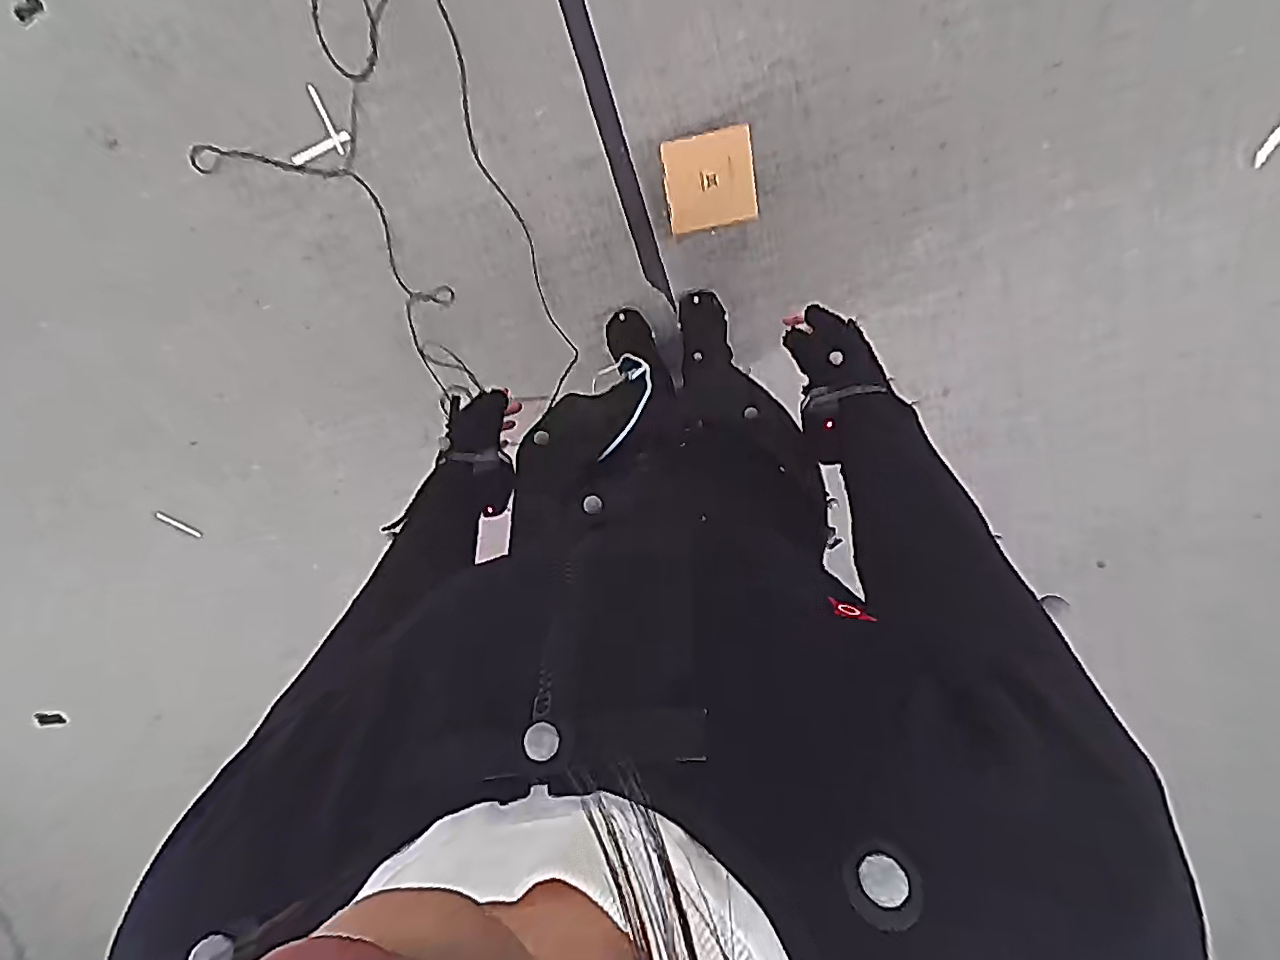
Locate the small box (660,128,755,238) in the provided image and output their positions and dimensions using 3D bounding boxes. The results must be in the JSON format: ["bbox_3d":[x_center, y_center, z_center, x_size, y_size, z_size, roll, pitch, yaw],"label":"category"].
[{"bbox_3d":[0.144,-0.626,1.161,0.179,0.176,0.168,-9,111,7],"label":"small box"}]
